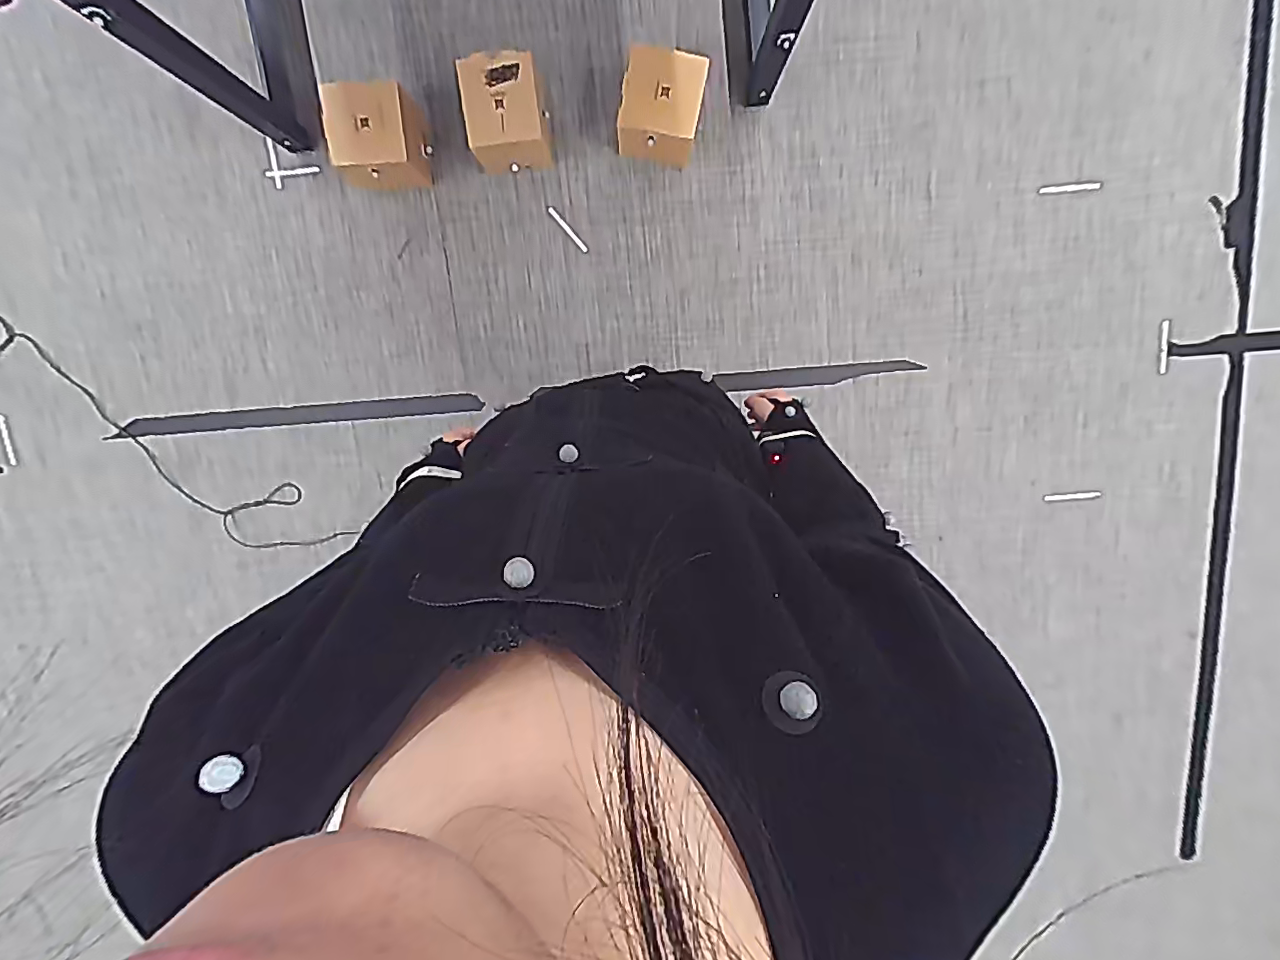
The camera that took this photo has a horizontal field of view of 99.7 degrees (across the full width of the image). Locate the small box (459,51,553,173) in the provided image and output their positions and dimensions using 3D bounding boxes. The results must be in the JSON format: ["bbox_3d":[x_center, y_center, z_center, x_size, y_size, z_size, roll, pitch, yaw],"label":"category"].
[{"bbox_3d":[-0.303,-0.844,1.255,0.168,0.176,0.179,-6,101,1],"label":"small box"}]

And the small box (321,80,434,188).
[{"bbox_3d":[-0.606,-0.800,1.265,0.179,0.176,0.168,-3,101,-1],"label":"small box"}]

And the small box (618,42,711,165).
[{"bbox_3d":[0.053,-0.860,1.254,0.179,0.176,0.168,12,101,-1],"label":"small box"}]
